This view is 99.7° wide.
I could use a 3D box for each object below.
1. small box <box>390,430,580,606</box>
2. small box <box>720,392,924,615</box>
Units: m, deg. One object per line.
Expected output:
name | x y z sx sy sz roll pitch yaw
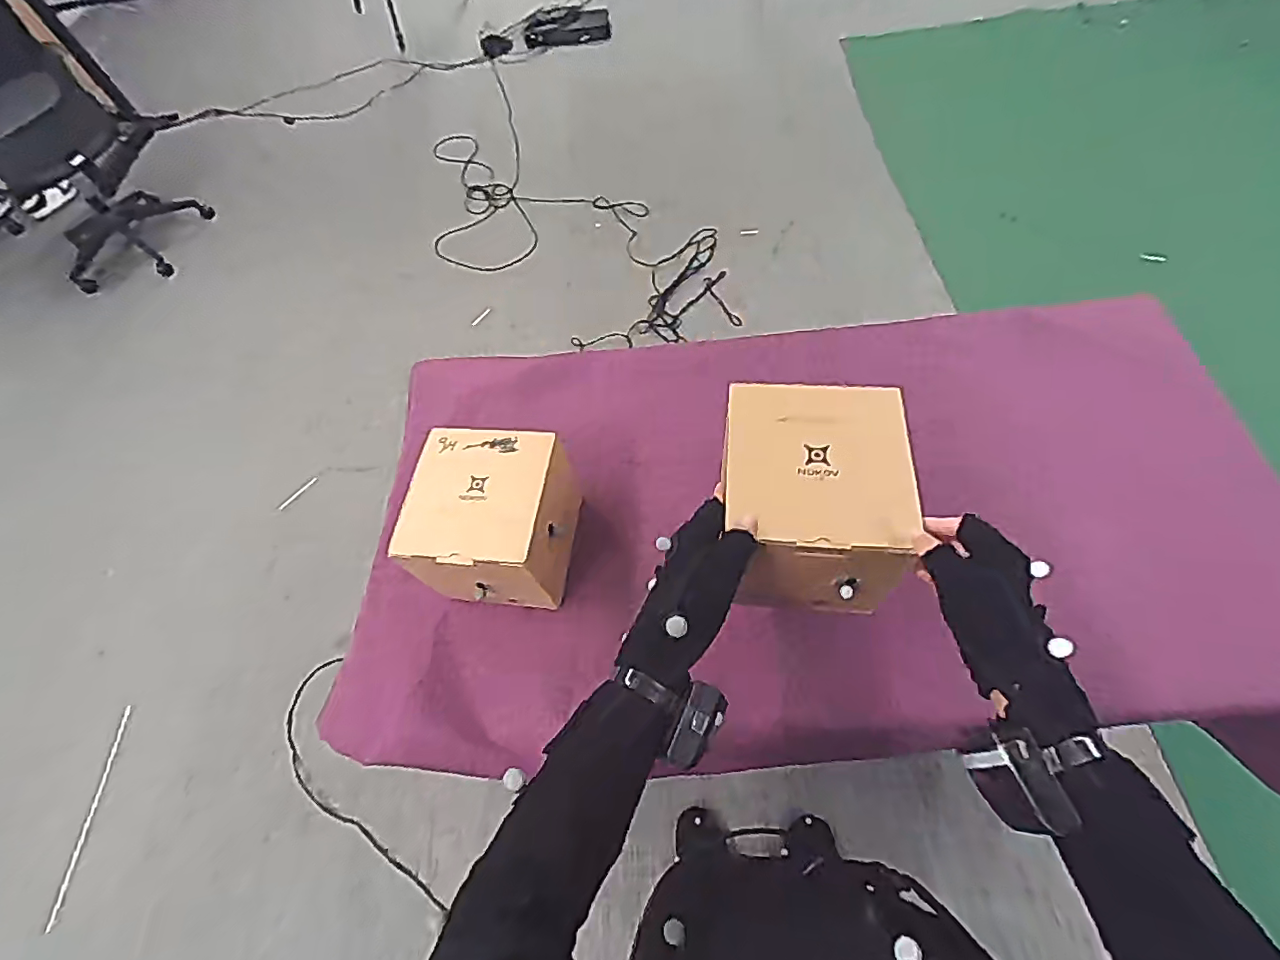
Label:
small box | -0.183 0.055 0.704 0.168 0.176 0.179 4 62 9
small box | 0.171 0.029 0.563 0.168 0.176 0.179 3 58 8
